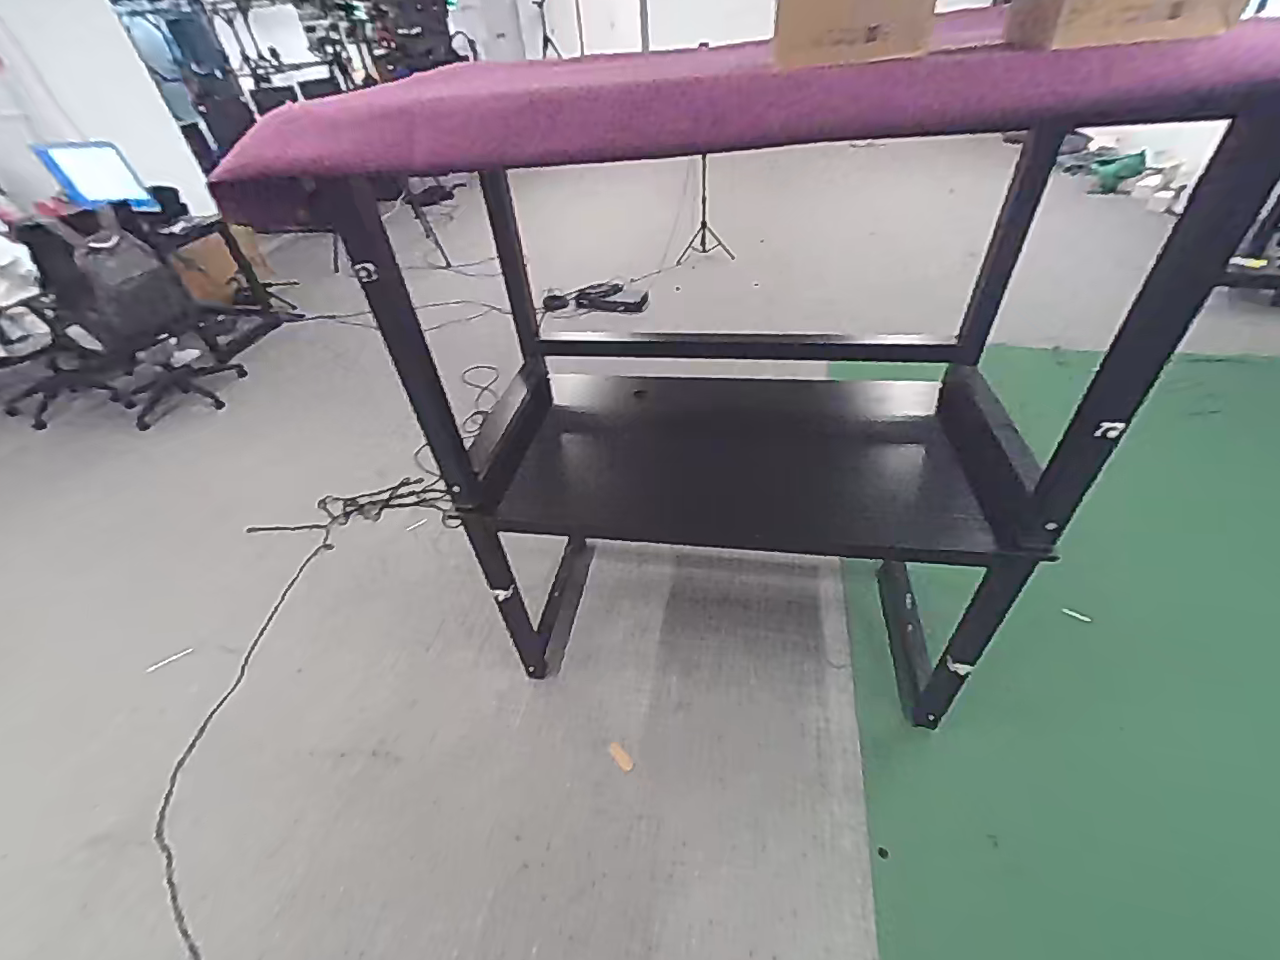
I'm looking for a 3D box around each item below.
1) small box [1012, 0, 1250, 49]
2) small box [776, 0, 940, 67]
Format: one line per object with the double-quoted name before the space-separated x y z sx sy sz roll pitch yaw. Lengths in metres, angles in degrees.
"small box" 0.523 -0.560 0.558 0.168 0.176 0.179 4 41 12
"small box" 0.248 -0.583 0.617 0.168 0.176 0.179 4 40 11
